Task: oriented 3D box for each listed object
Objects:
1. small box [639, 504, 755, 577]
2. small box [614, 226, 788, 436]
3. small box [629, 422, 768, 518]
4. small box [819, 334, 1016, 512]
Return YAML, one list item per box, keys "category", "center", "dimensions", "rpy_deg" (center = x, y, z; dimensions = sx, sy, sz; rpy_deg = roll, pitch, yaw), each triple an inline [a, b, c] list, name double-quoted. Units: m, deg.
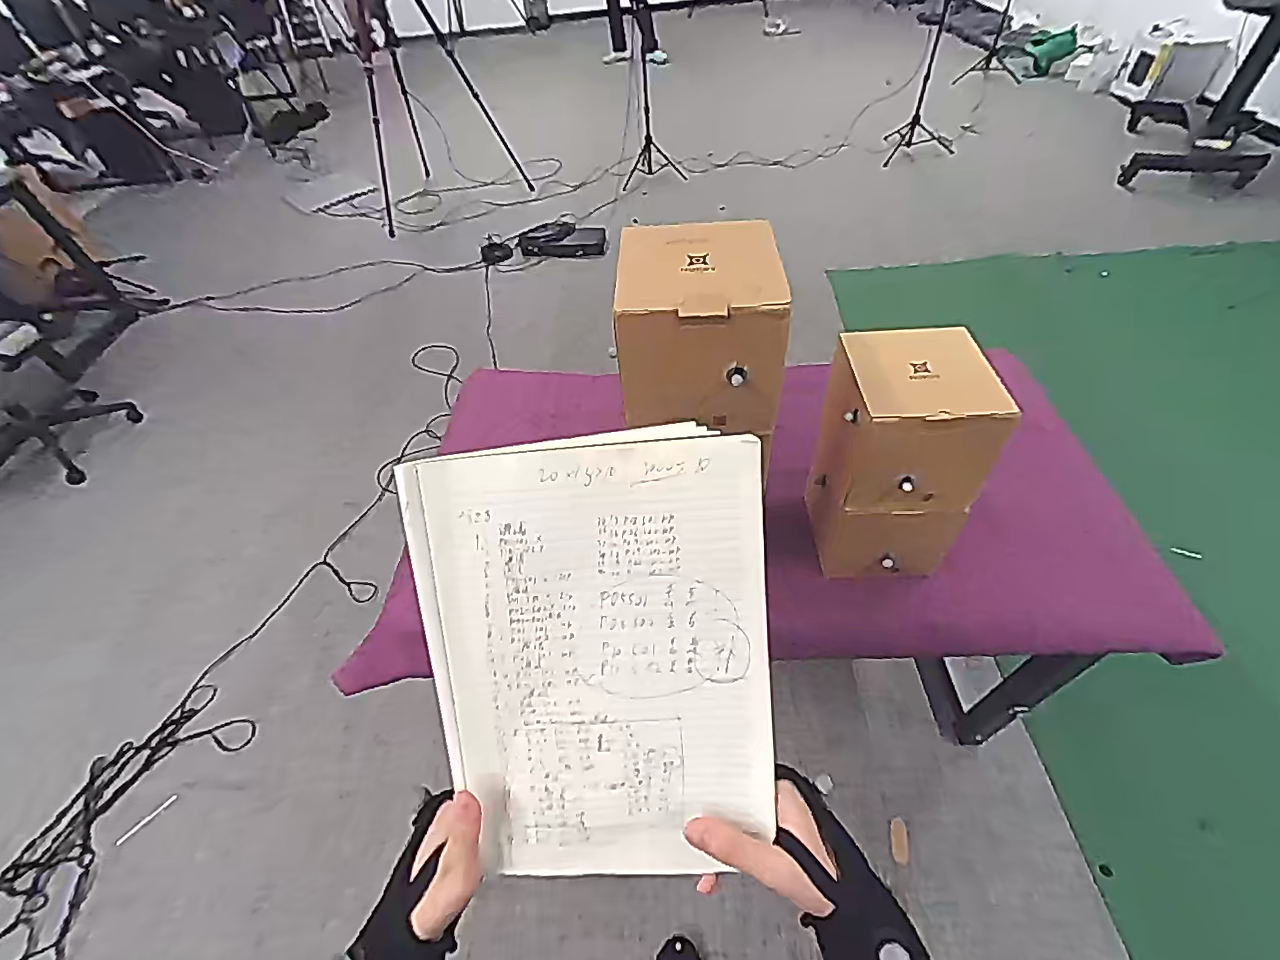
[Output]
- category: "small box"
  center: [0.090, 0.043, 0.867]
  dimensions: [0.168, 0.176, 0.179]
  rpy_deg: [-2, 50, 4]
- category: "small box"
  center: [0.066, -0.163, 0.613]
  dimensions: [0.168, 0.176, 0.179]
  rpy_deg: [-1, 49, 4]
- category: "small box"
  center: [0.078, -0.060, 0.739]
  dimensions: [0.168, 0.176, 0.179]
  rpy_deg: [-2, 48, 4]
- category: "small box"
  center: [0.350, -0.076, 0.727]
  dimensions: [0.168, 0.176, 0.179]
  rpy_deg: [-1, 48, 4]
